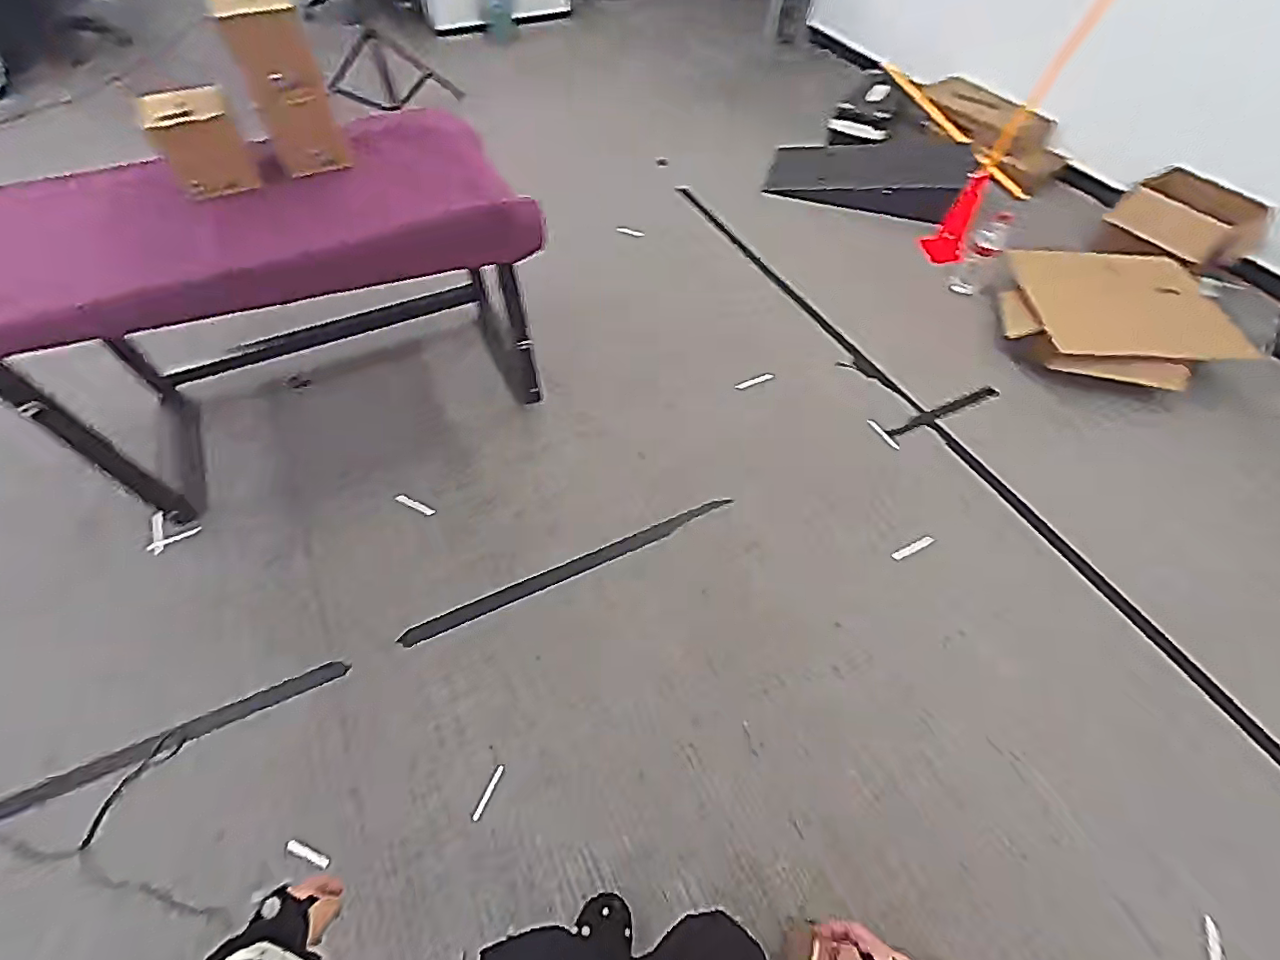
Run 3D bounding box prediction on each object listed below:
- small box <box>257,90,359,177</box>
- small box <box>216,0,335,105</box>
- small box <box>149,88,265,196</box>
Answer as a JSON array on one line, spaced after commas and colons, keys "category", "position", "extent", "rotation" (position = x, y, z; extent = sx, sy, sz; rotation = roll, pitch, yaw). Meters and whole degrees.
[{"category": "small box", "position": [-0.856, -0.919, 1.399], "extent": [0.168, 0.176, 0.179], "rotation": [-22, 60, -15]}, {"category": "small box", "position": [-0.850, -1.016, 1.268], "extent": [0.168, 0.176, 0.179], "rotation": [-24, 61, -16]}, {"category": "small box", "position": [-1.054, -0.822, 1.327], "extent": [0.168, 0.176, 0.179], "rotation": [-22, 59, -16]}]
